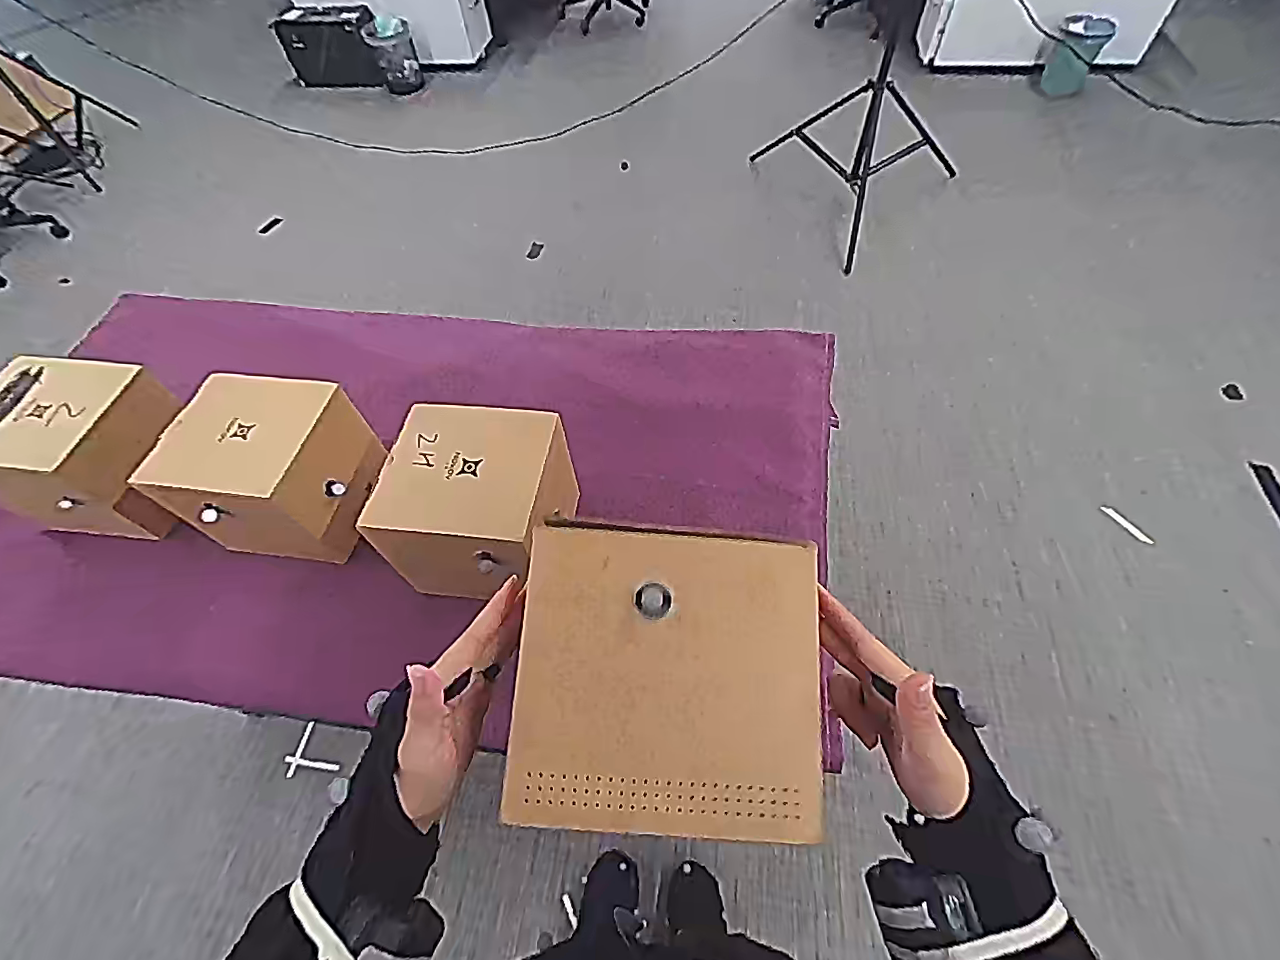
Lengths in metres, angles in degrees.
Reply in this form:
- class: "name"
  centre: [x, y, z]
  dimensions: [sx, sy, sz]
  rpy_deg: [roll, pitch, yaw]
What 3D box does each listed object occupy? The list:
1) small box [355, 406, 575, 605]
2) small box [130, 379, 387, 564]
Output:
- class: "small box"
  centre: [-0.183, 0.035, 0.634]
  dimensions: [0.179, 0.176, 0.168]
  rpy_deg: [4, 55, 7]
- class: "small box"
  centre: [-0.453, -0.005, 0.685]
  dimensions: [0.179, 0.176, 0.168]
  rpy_deg: [5, 57, 8]
